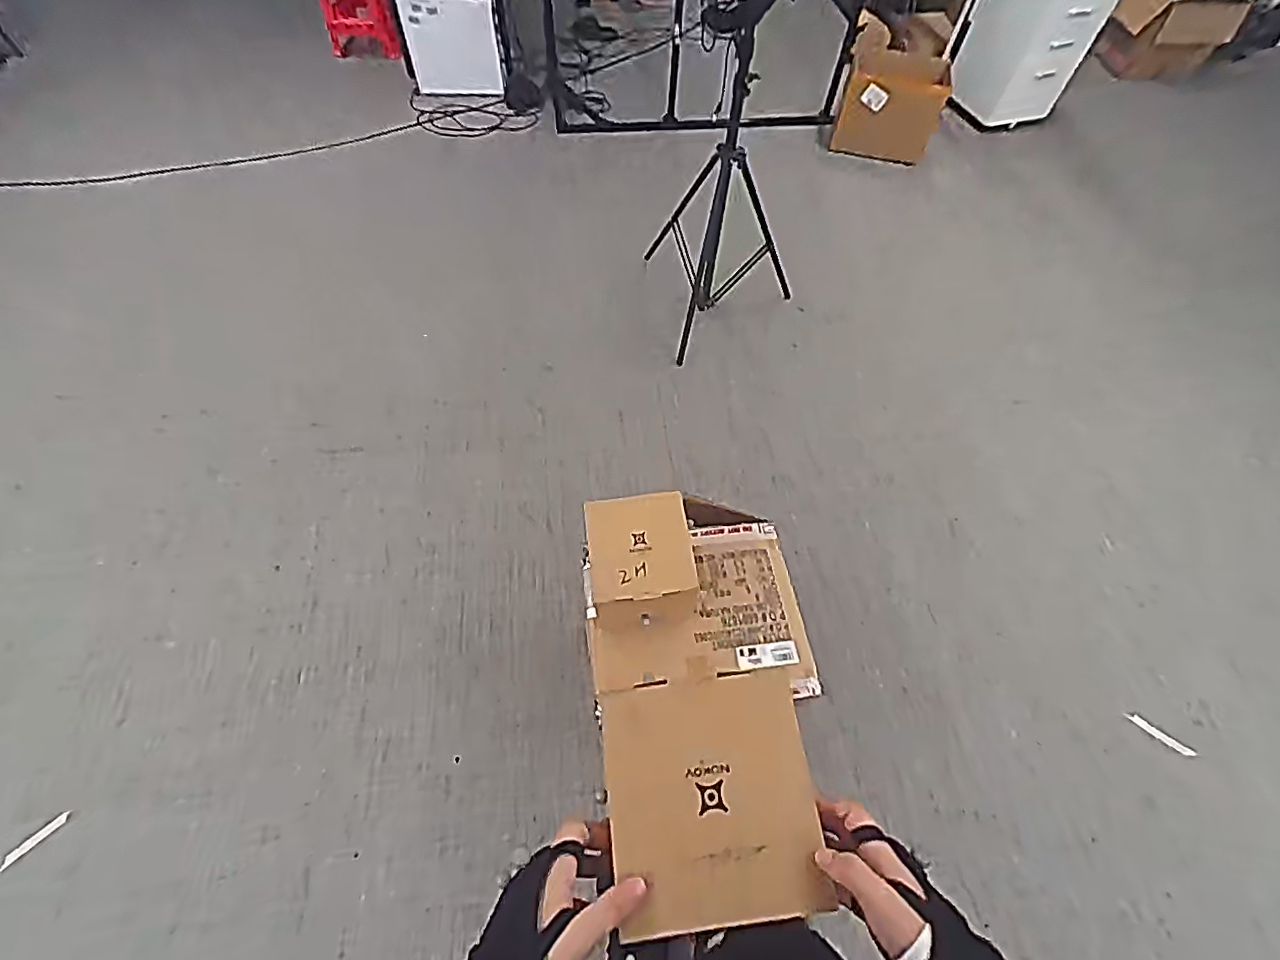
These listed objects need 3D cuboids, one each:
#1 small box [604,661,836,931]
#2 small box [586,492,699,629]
[{"bbox_3d":[0.057,0.281,0.509,0.168,0.176,0.179,-7,65,-3],"label":"small box"},{"bbox_3d":[-0.002,0.142,0.932,0.168,0.176,0.179,-7,62,-4],"label":"small box"}]
